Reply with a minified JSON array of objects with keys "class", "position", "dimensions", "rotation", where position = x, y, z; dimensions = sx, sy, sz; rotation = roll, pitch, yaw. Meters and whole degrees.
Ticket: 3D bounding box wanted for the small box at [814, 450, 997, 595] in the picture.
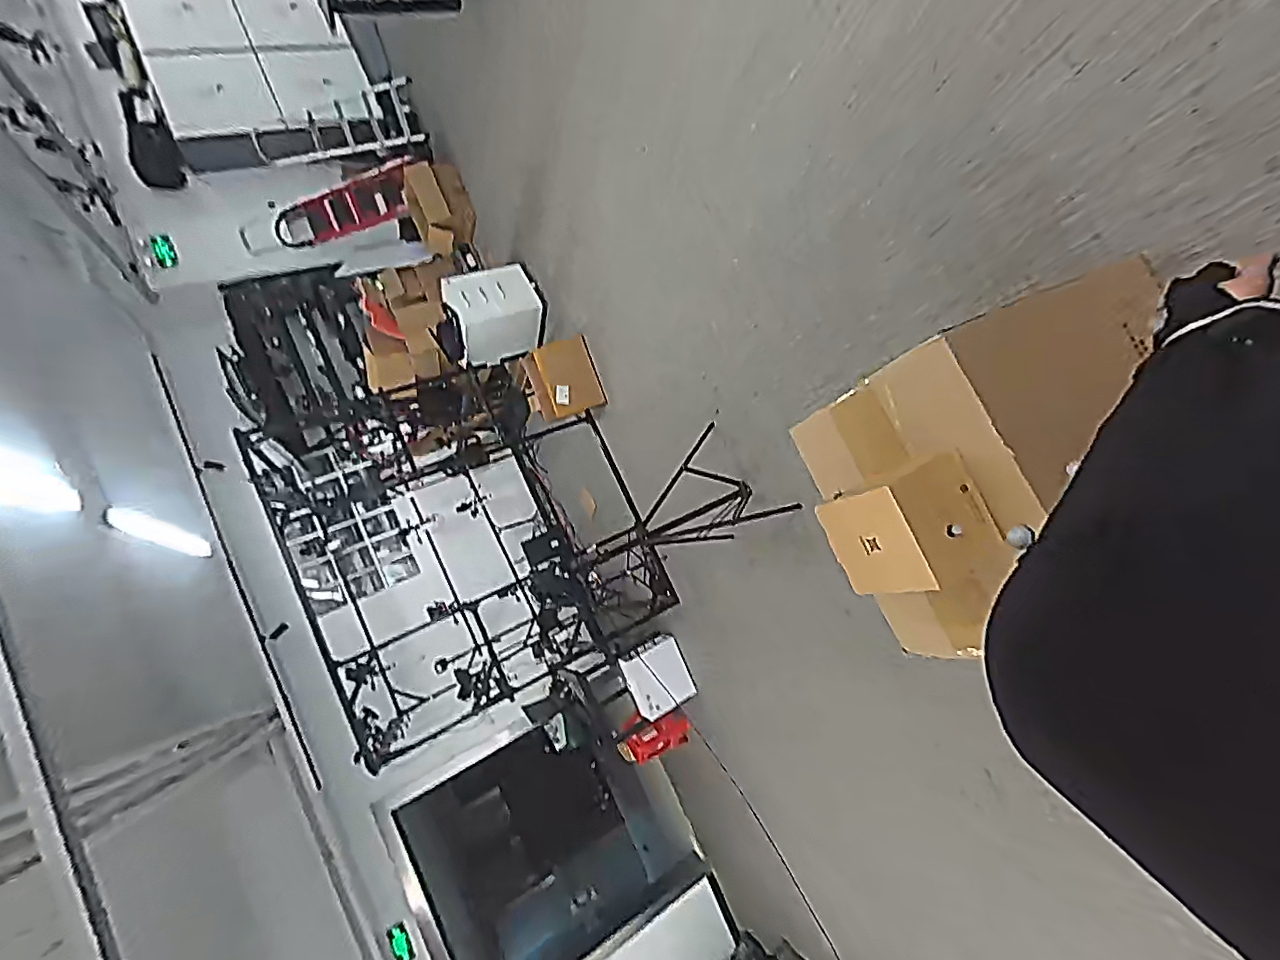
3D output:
[{"class":"small box","position":[0.424,0.069,0.860],"dimensions":[0.168,0.176,0.179],"rotation":[64,157,5]}]
